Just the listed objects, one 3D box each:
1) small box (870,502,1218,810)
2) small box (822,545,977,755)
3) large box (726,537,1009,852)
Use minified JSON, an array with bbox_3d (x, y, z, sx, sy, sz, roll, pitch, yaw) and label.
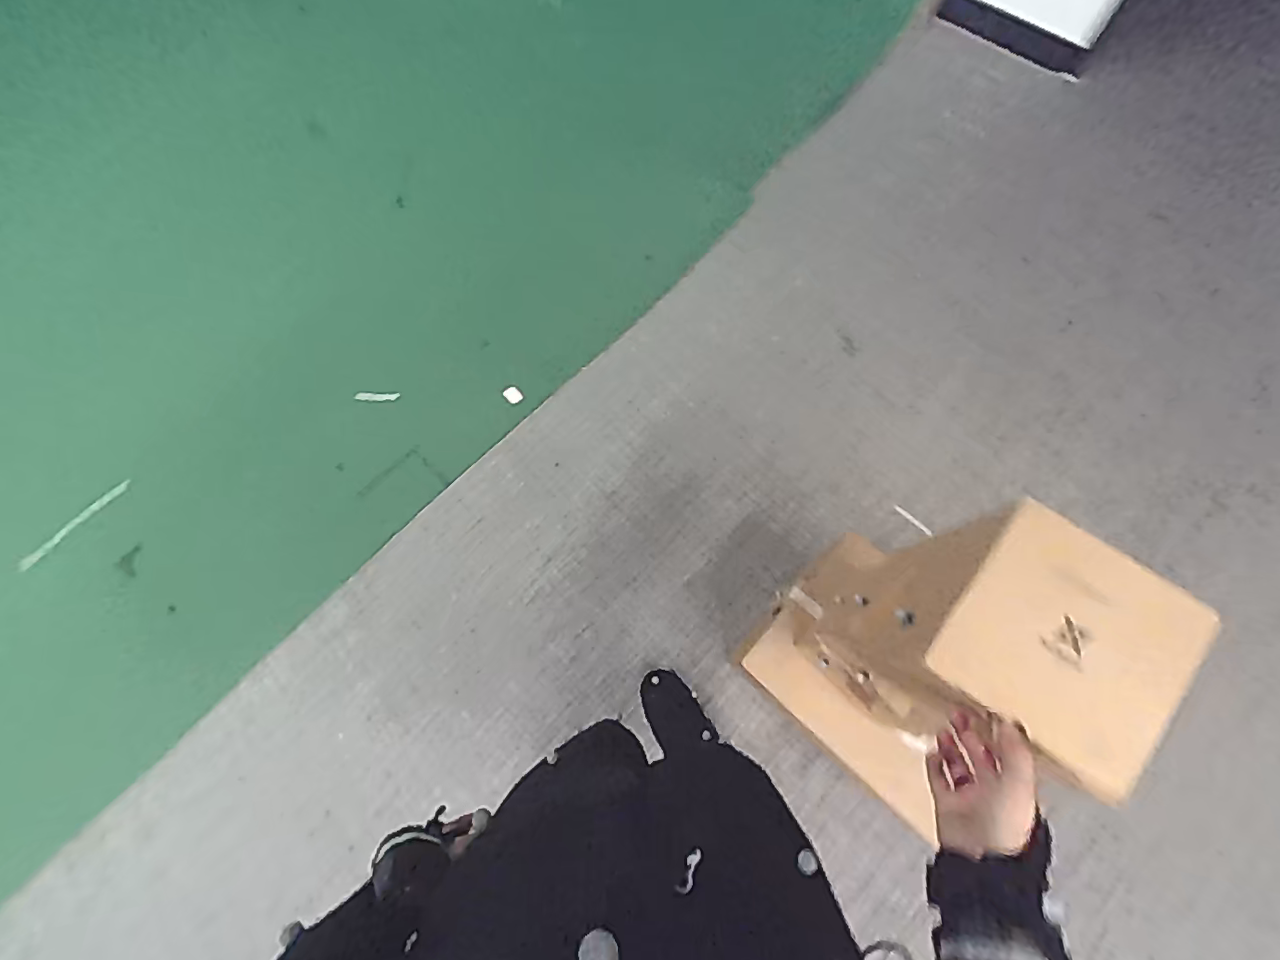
[{"bbox_3d":[0.342,0.153,0.501,0.168,0.176,0.179,37,79,13],"label":"small box"},{"bbox_3d":[0.353,0.193,0.659,0.179,0.176,0.168,-41,74,-8],"label":"small box"},{"bbox_3d":[0.424,0.372,1.024,0.408,0.320,0.320,42,81,14],"label":"large box"}]
